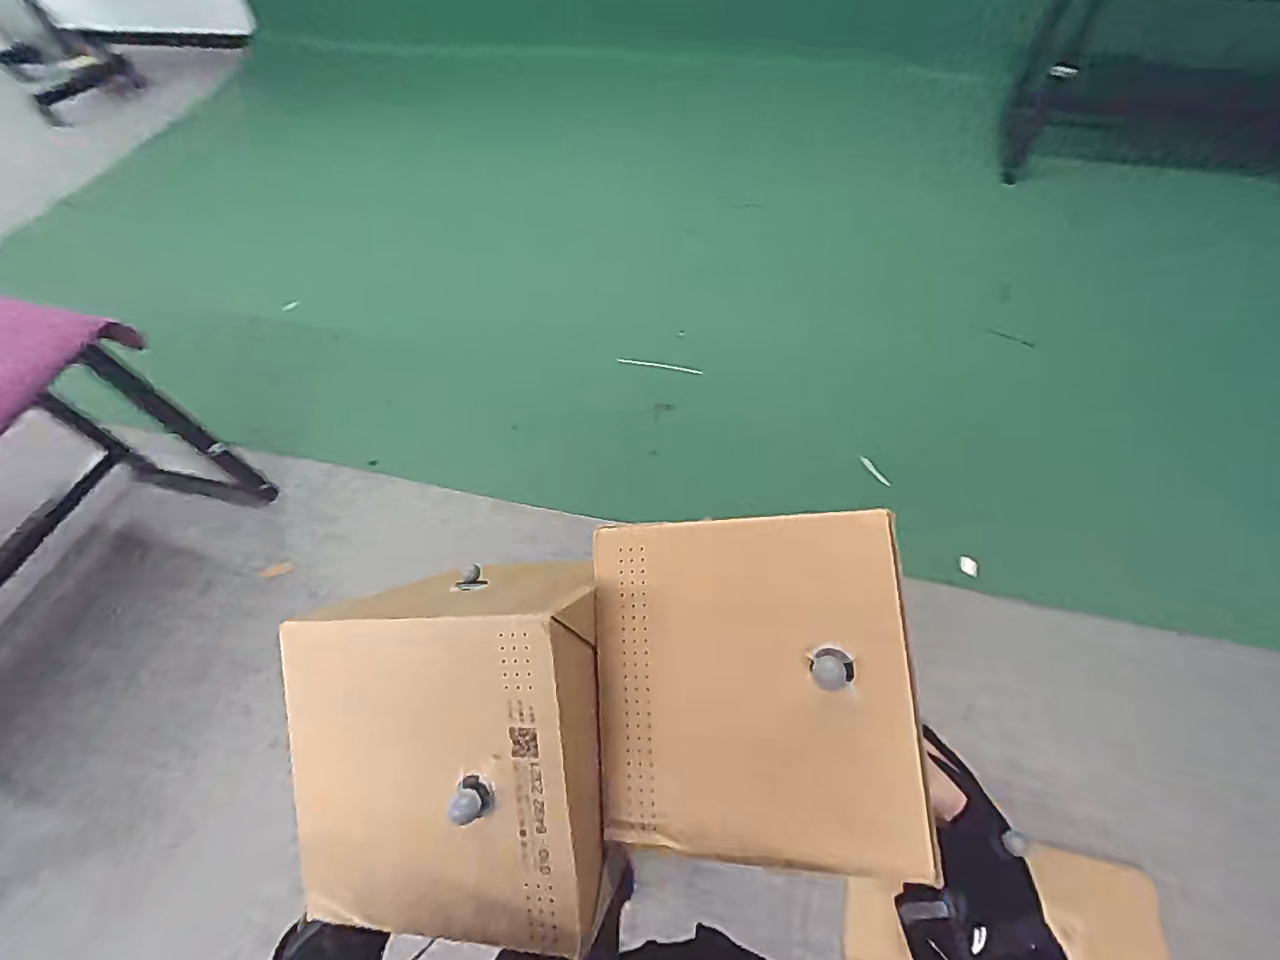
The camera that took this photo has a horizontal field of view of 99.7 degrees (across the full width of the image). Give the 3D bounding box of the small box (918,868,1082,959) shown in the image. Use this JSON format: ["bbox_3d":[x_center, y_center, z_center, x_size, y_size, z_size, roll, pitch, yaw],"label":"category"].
[{"bbox_3d":[0.586,0.775,0.897,0.179,0.176,0.168,18,62,15],"label":"small box"}]
